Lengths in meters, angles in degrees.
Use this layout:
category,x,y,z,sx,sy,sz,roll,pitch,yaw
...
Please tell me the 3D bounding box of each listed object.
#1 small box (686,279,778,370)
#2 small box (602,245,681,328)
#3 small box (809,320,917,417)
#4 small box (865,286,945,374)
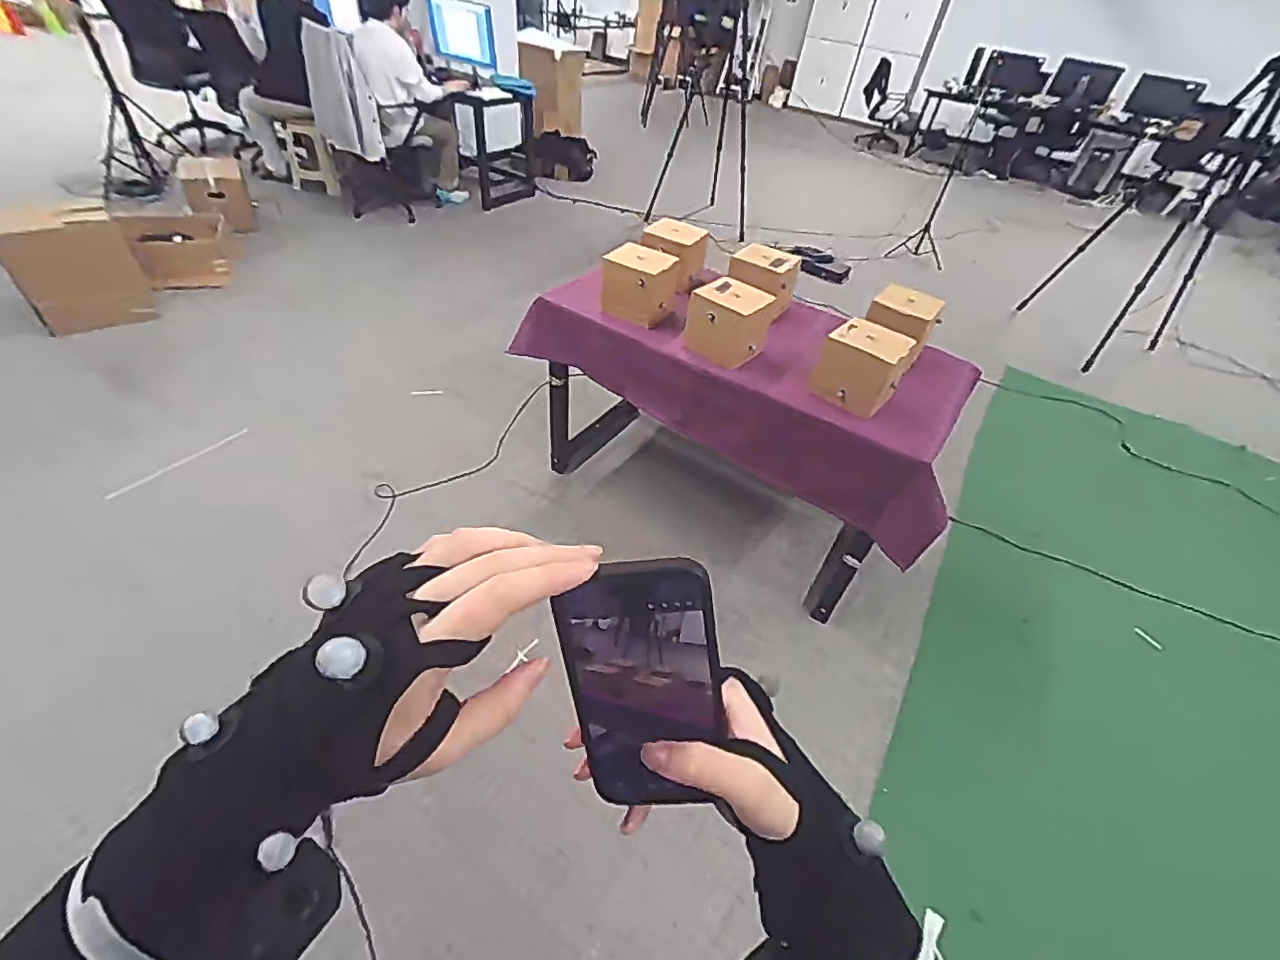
category,x,y,z,sx,sy,sz,roll,pitch,yaw
small box,0.250,-0.432,1.510,0.179,0.176,0.168,34,49,24
small box,-0.001,-0.580,1.628,0.179,0.176,0.168,25,45,15
small box,0.573,-0.285,1.404,0.179,0.176,0.168,34,49,25
small box,0.761,-0.443,1.599,0.168,0.176,0.179,31,48,23
